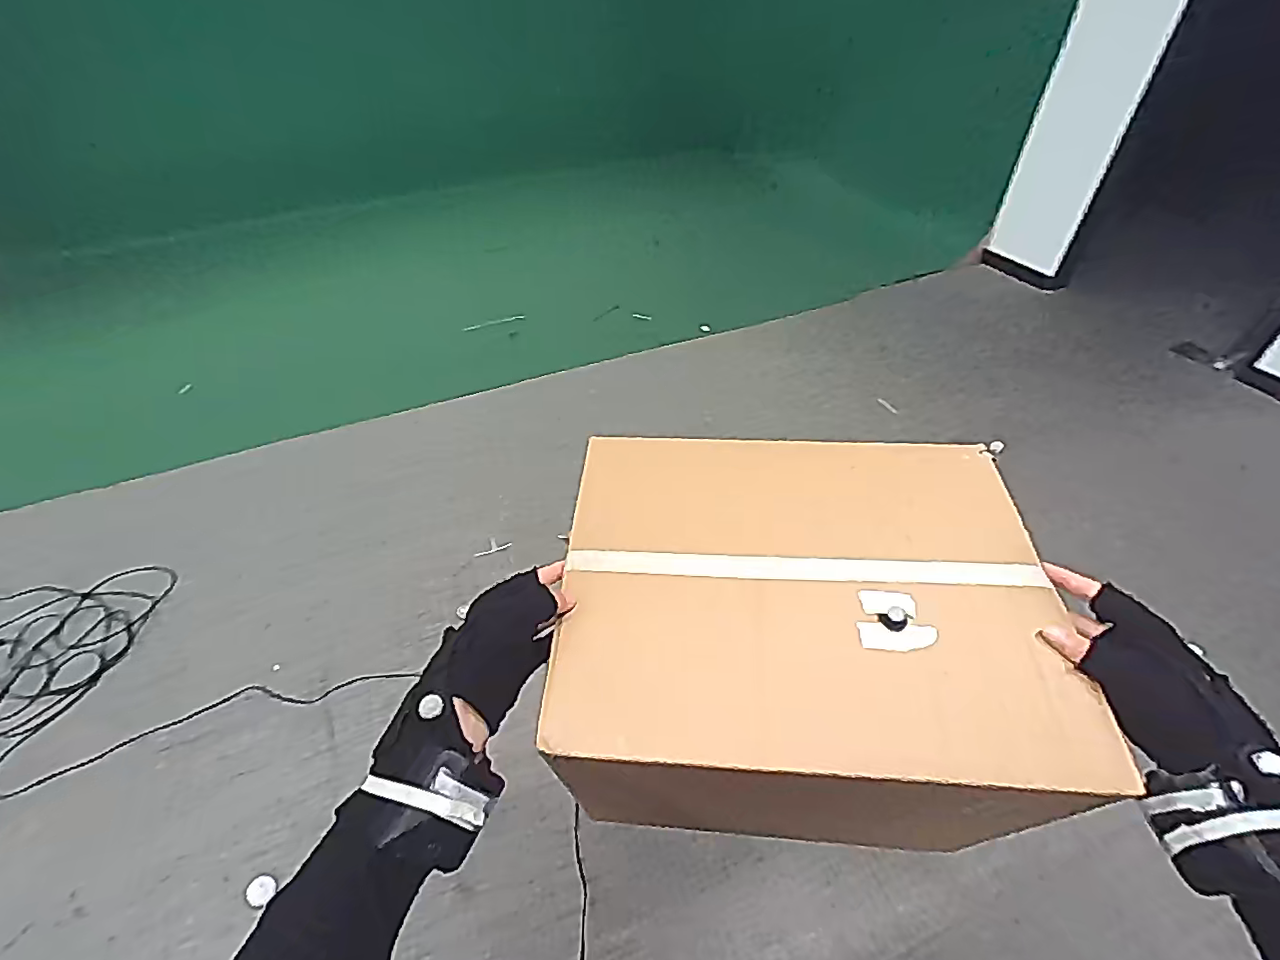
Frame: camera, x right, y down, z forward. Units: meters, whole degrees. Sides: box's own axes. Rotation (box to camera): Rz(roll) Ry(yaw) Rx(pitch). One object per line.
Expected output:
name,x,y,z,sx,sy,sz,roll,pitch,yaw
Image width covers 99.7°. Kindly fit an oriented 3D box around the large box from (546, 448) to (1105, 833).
large box,0.139,0.179,0.593,0.408,0.320,0.320,0,51,4
